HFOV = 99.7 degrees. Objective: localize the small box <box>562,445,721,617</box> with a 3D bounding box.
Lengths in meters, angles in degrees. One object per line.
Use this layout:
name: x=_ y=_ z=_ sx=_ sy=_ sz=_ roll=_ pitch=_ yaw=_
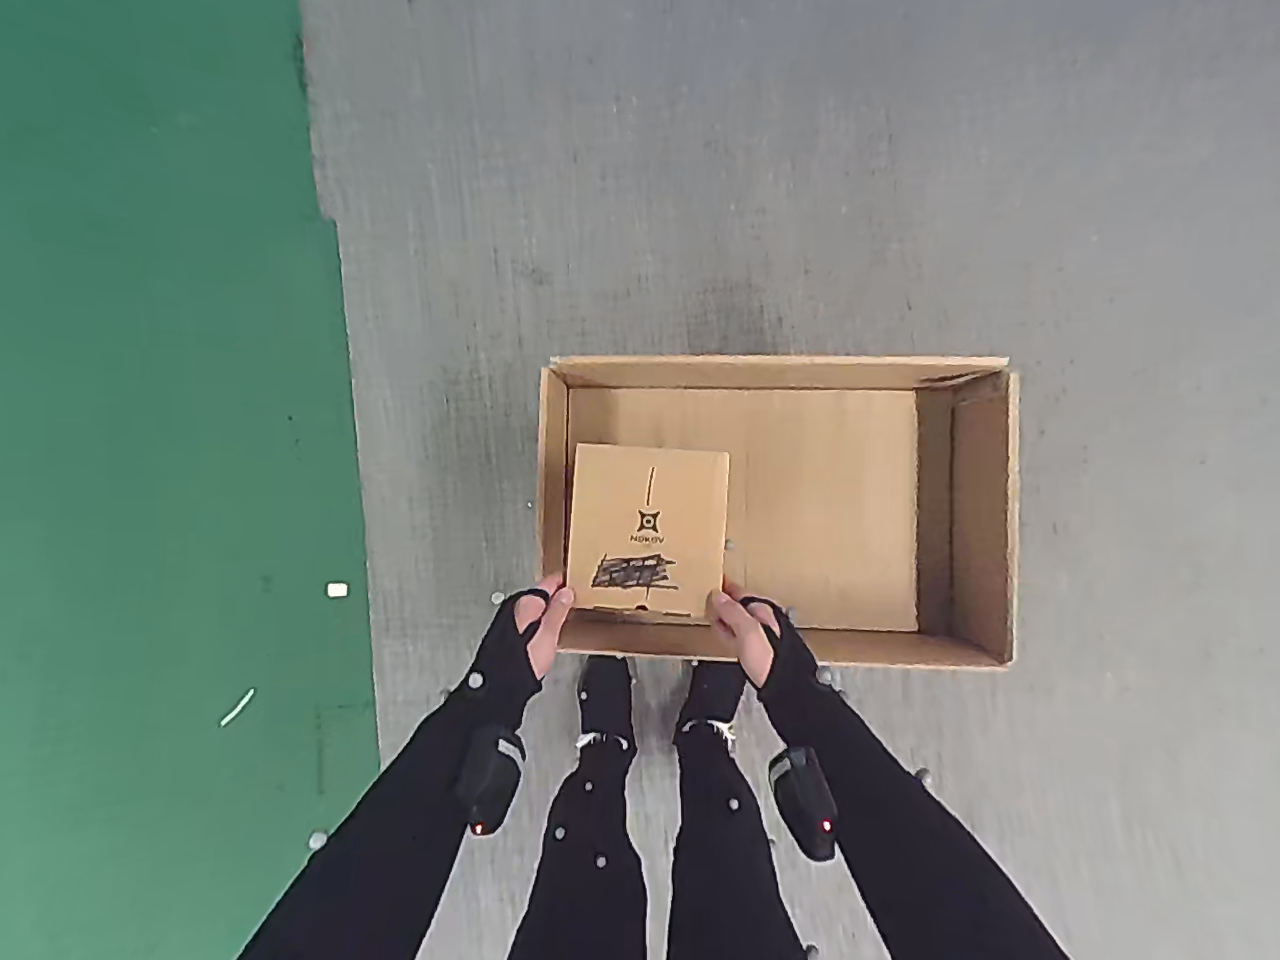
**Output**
small box: x=0.011 y=0.055 z=0.656 sx=0.168 sy=0.176 sz=0.179 roll=3 pitch=88 yaw=7
